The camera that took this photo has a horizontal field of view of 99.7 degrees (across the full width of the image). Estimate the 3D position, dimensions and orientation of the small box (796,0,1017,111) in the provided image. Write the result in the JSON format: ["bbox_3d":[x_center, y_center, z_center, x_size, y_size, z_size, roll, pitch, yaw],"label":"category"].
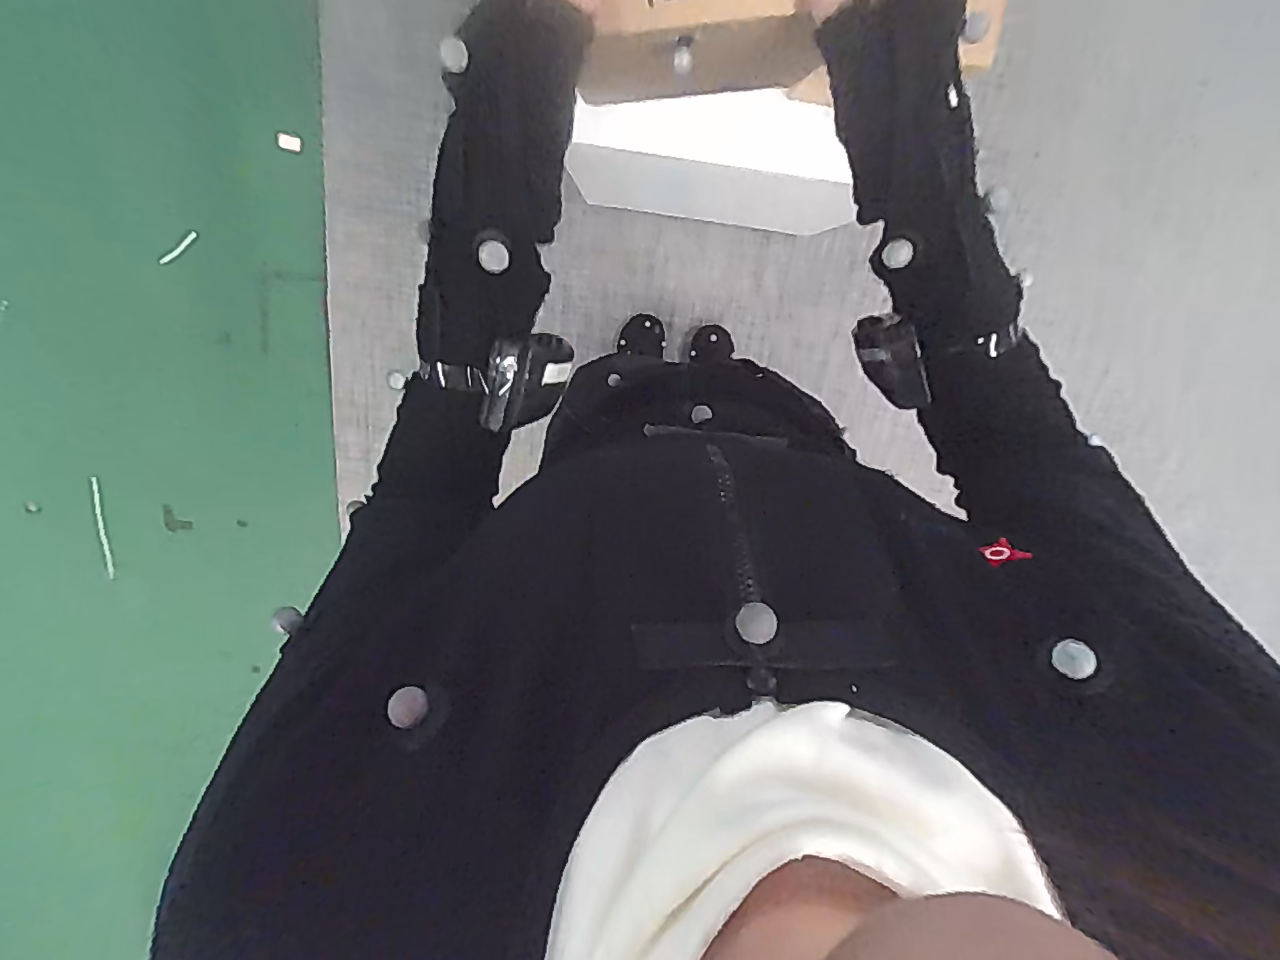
[{"bbox_3d":[0.272,-0.515,0.559,0.168,0.176,0.179,6,111,-1],"label":"small box"}]

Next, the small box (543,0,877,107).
[{"bbox_3d":[0.028,-0.335,0.303,0.168,0.176,0.179,-4,116,3],"label":"small box"}]
